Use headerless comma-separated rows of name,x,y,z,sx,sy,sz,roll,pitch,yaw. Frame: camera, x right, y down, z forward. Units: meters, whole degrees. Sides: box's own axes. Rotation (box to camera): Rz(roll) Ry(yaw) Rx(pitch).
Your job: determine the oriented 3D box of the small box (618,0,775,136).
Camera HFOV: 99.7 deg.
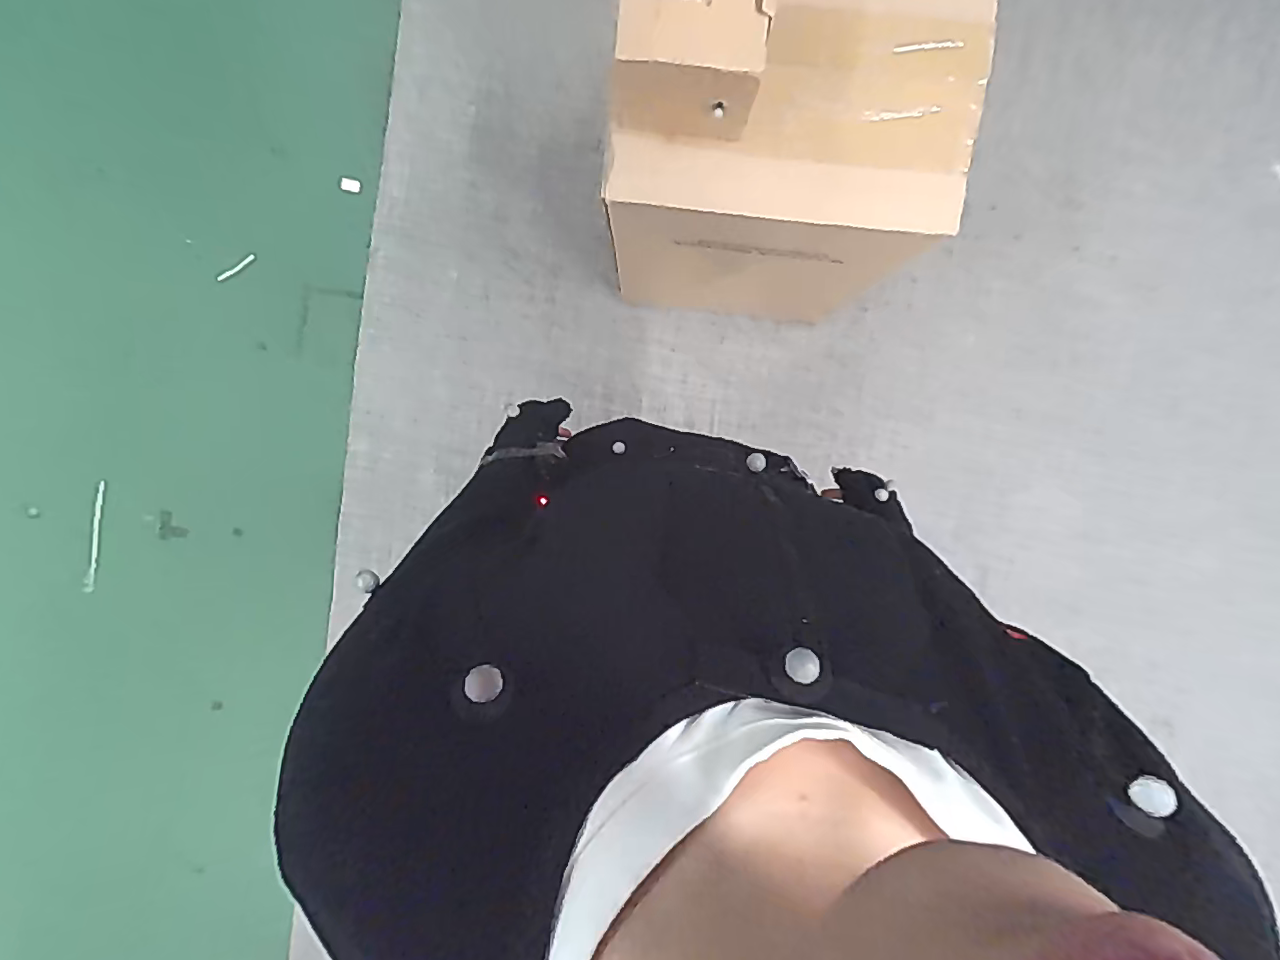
small box,0.071,-0.571,0.693,0.179,0.176,0.168,6,98,1
